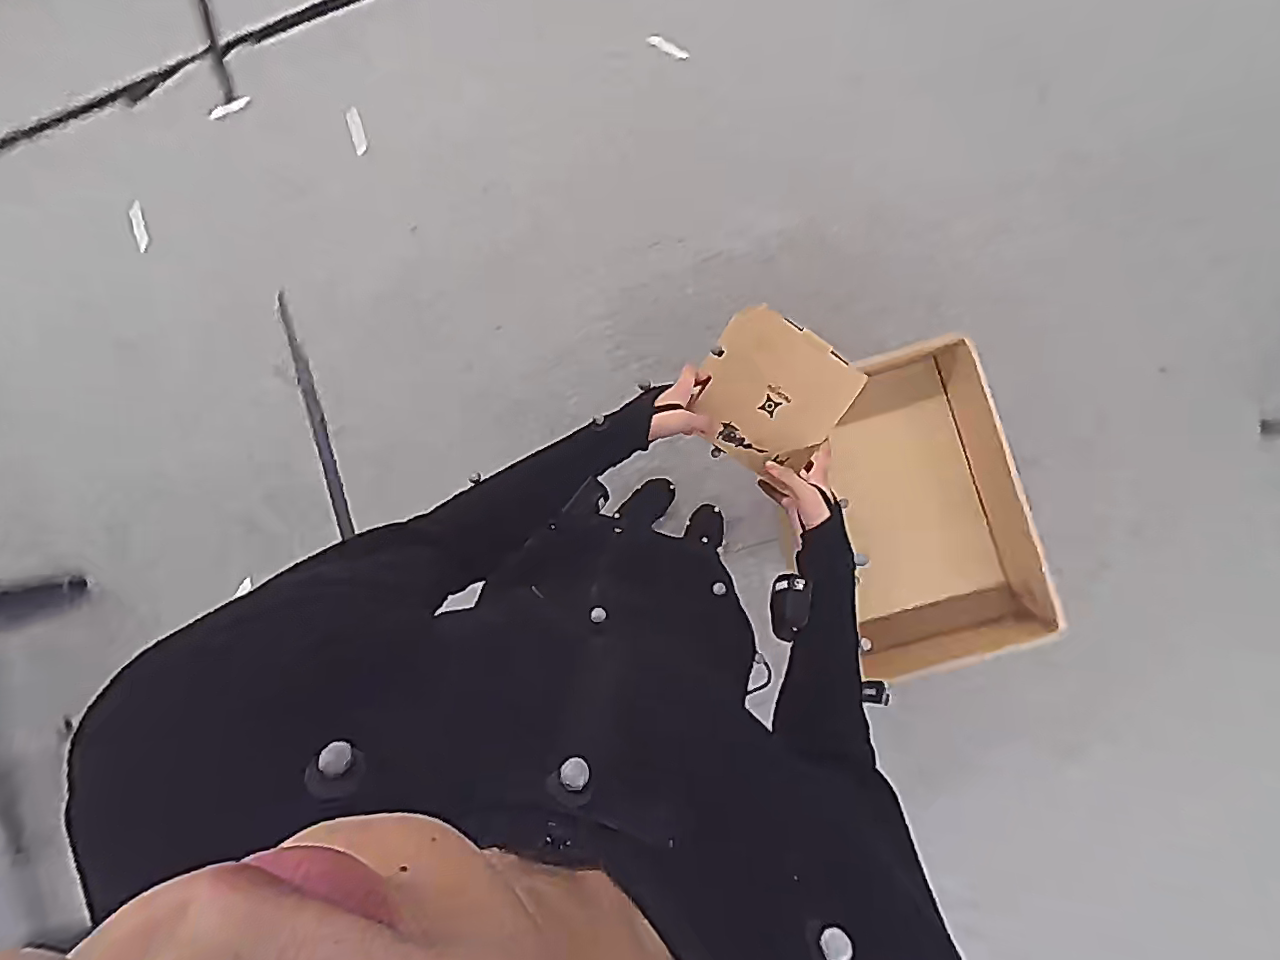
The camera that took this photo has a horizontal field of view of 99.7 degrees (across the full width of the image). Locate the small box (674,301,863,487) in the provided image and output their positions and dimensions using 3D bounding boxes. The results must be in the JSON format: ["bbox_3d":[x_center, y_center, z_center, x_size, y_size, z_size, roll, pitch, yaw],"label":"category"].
[{"bbox_3d":[0.160,-0.120,0.745,0.168,0.176,0.179,31,100,-9],"label":"small box"}]
